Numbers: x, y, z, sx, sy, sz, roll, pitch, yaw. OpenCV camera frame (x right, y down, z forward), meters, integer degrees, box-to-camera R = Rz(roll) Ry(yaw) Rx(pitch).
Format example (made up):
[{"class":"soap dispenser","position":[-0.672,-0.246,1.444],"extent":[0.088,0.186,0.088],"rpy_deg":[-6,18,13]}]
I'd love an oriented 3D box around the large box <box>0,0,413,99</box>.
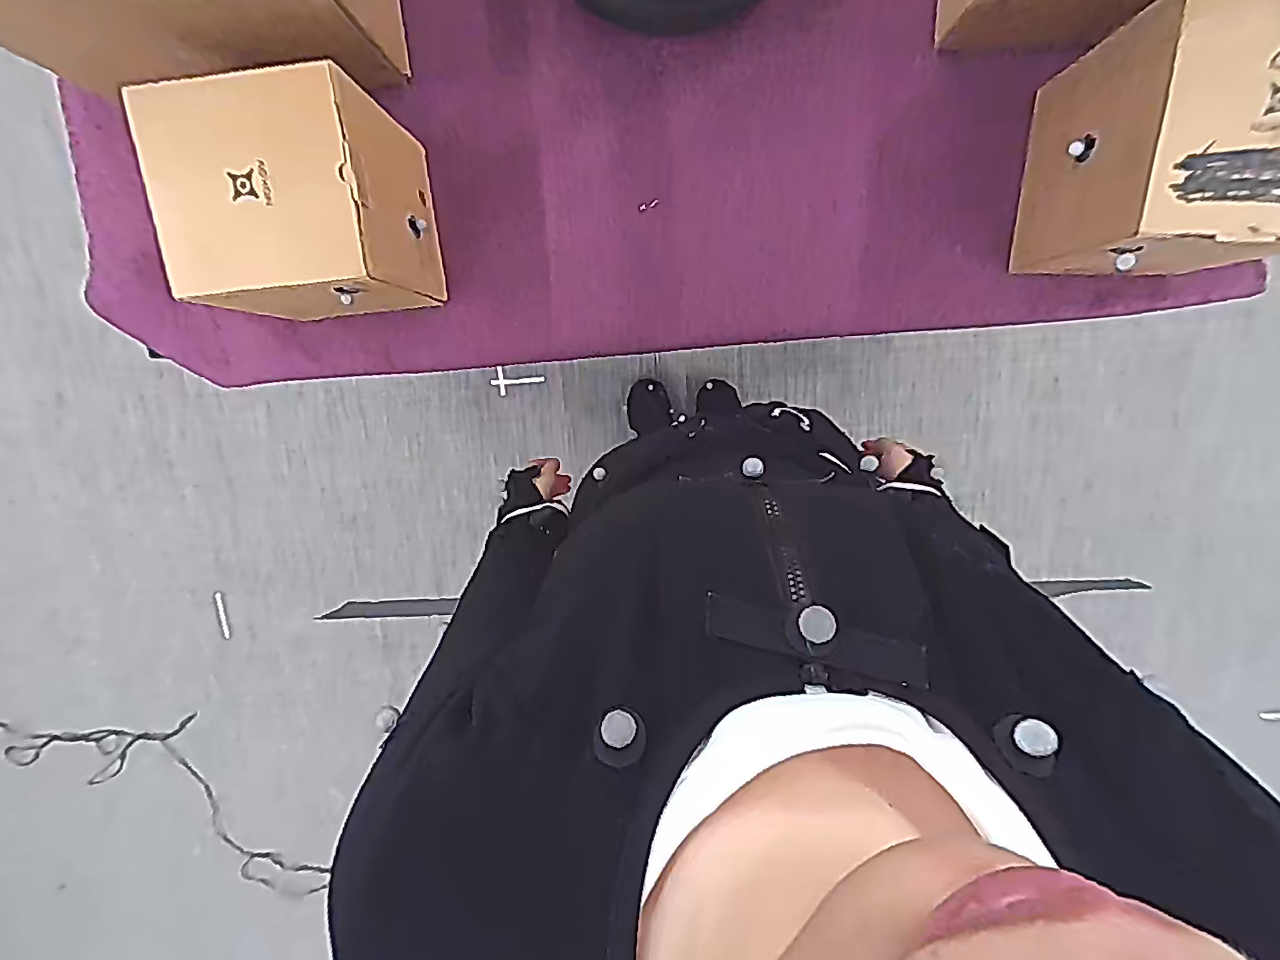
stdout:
[{"class":"large box","position":[-0.406,-0.568,0.387],"extent":[0.320,0.320,0.408],"rpy_deg":[-5,104,2]}]

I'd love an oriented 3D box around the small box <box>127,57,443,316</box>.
[{"class":"small box","position":[-0.317,-0.259,0.522],"extent":[0.179,0.176,0.168],"rpy_deg":[-6,100,3]}]
